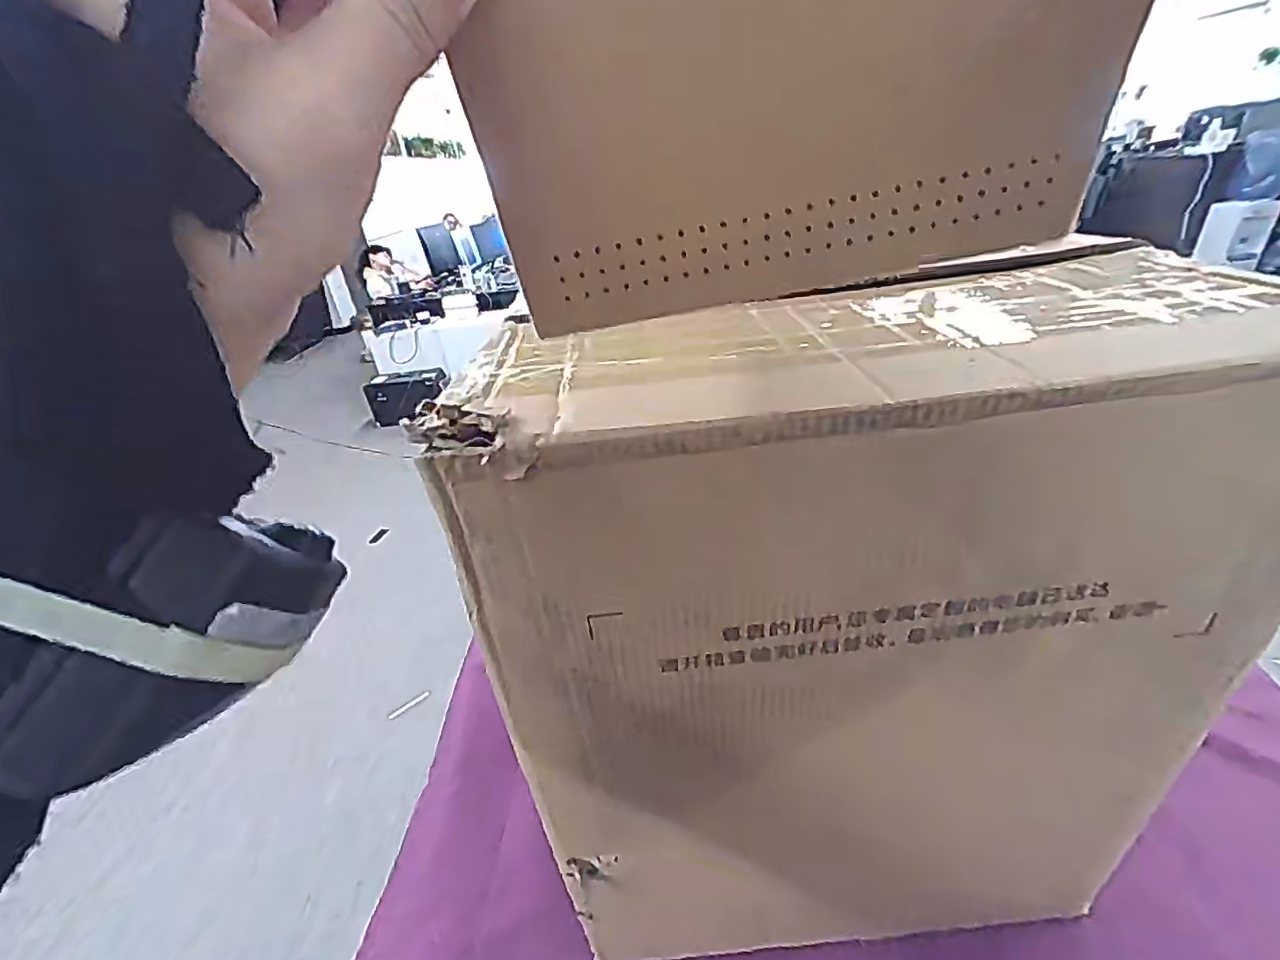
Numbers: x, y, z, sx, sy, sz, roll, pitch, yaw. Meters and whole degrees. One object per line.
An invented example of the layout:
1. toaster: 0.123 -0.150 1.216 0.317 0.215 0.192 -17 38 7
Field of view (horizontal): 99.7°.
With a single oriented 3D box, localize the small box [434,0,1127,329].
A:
1. small box: 0.033 -0.173 0.179 0.179 0.176 0.168 -10 43 4
